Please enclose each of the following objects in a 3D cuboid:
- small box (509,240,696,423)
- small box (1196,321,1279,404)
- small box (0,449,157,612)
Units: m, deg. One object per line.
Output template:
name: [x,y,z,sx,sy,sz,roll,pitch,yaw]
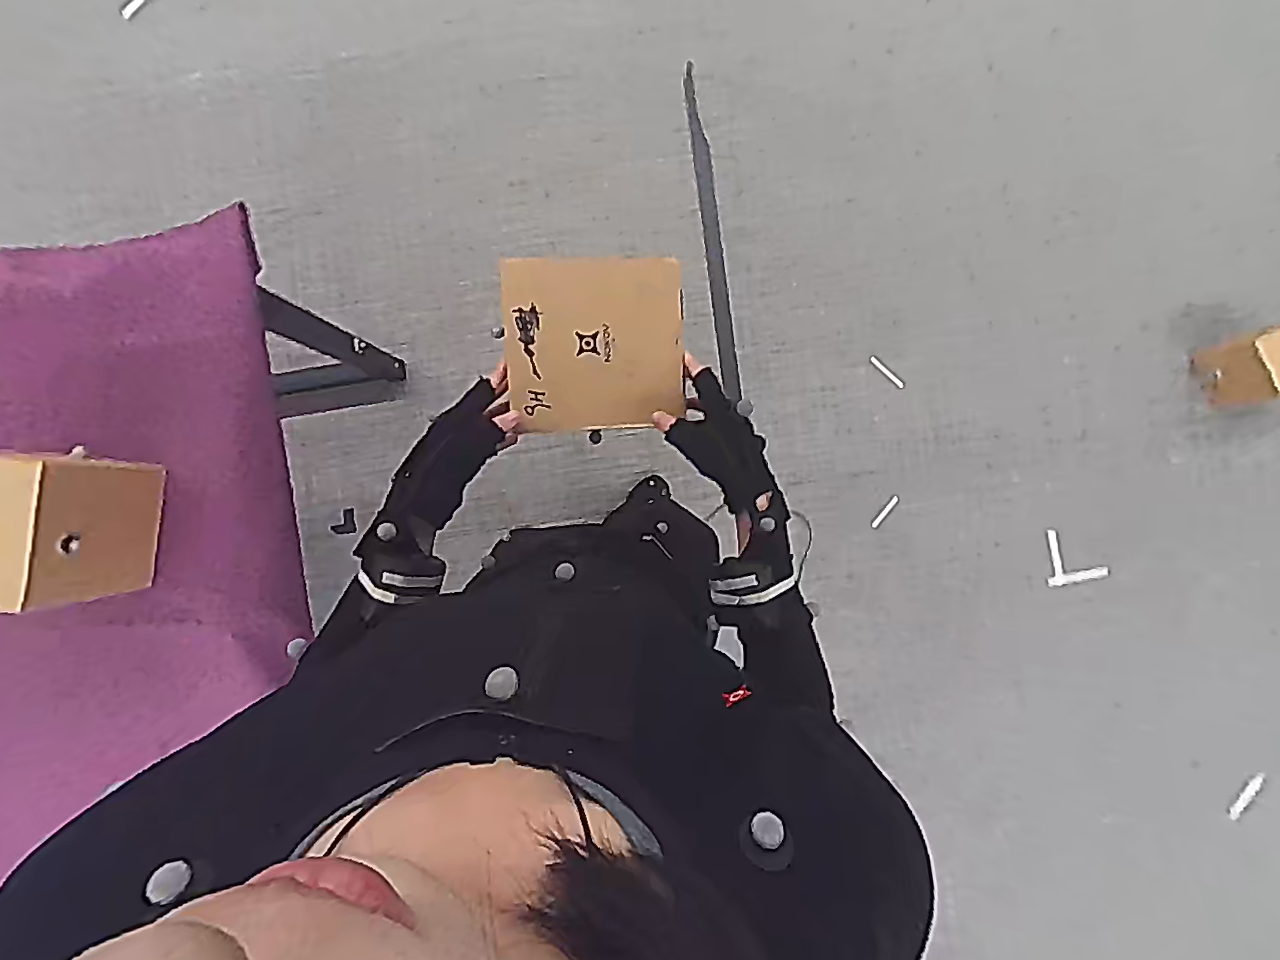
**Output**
small box: [-0.044,-0.148,0.589,0.179,0.176,0.168,-3,95,-8]
small box: [1.692,-0.324,1.462,0.179,0.176,0.168,-27,88,0]
small box: [-0.770,0.054,0.686,0.168,0.176,0.179,6,88,0]
